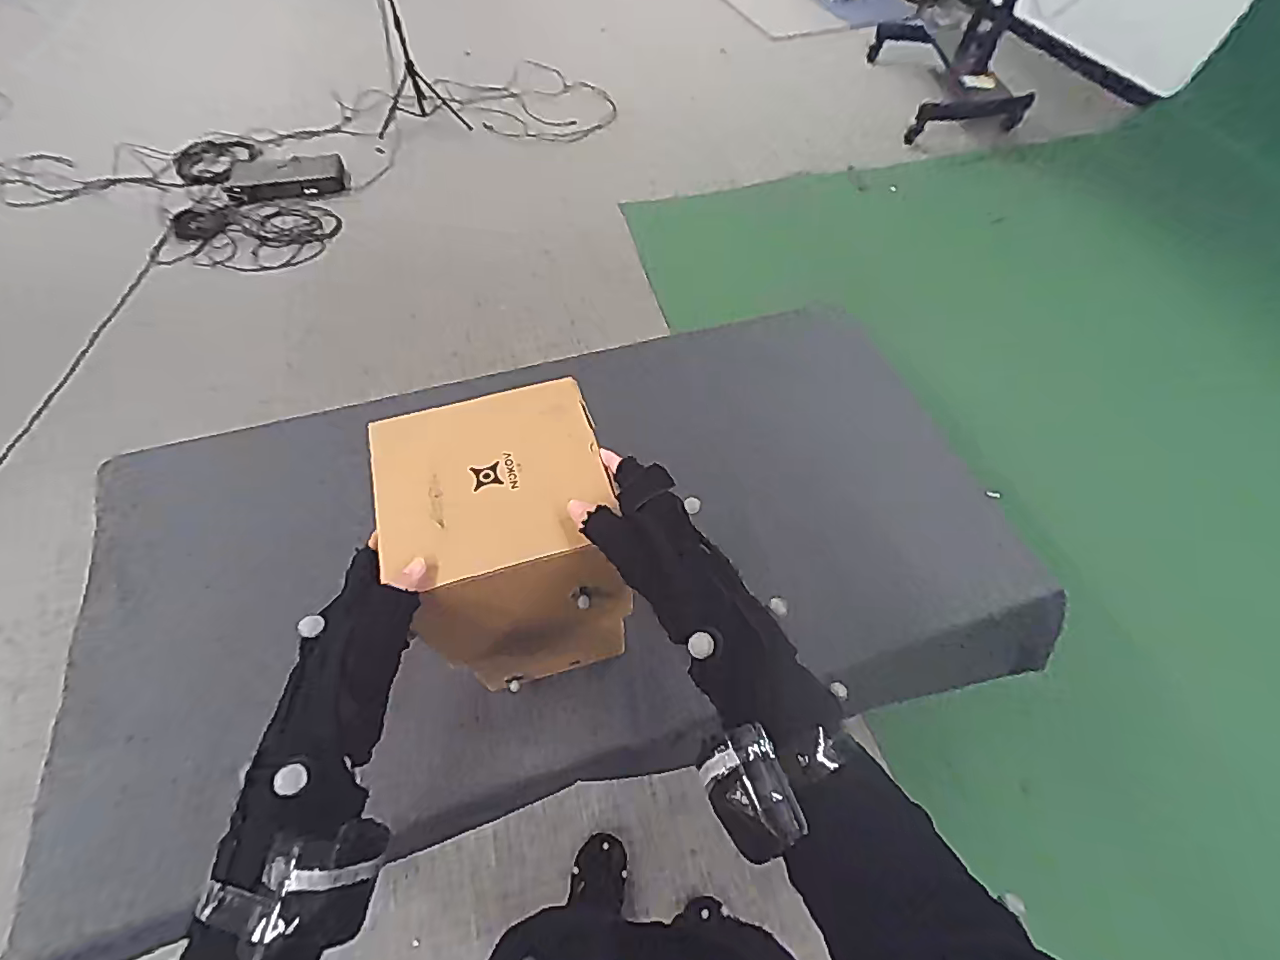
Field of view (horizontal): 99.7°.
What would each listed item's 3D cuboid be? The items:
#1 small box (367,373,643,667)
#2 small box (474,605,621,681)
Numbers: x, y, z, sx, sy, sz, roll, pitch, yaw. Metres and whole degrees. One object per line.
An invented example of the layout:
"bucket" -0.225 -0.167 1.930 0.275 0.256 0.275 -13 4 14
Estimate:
"small box" -0.110 0.039 0.475 0.179 0.176 0.168 -19 59 -14
"small box" -0.121 0.121 0.635 0.168 0.176 0.179 -14 58 -10
